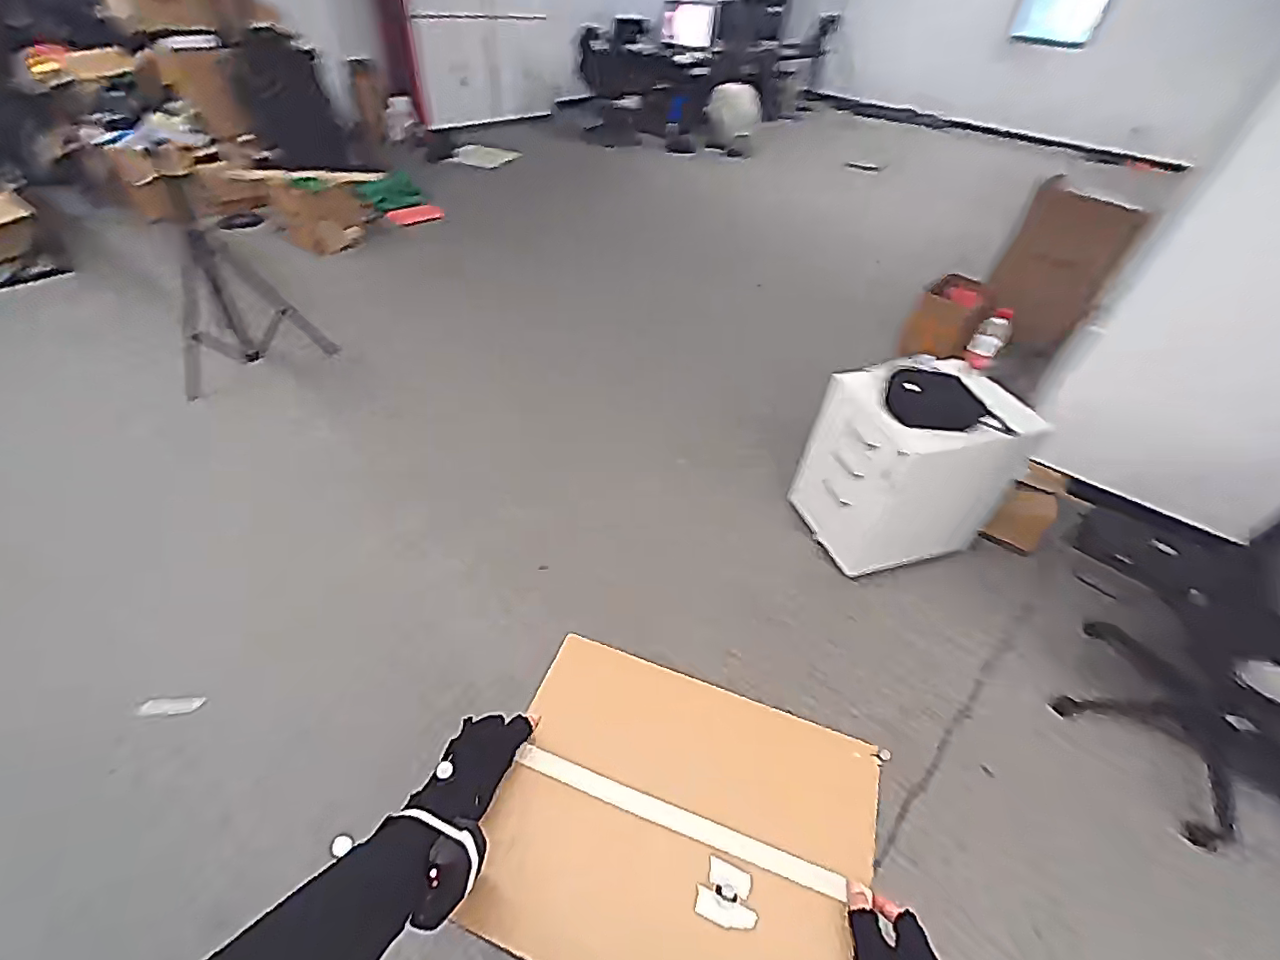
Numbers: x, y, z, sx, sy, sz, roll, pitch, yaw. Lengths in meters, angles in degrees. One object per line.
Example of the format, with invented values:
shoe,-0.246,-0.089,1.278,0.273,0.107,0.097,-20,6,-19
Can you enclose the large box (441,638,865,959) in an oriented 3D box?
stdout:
large box,0.028,0.468,0.697,0.408,0.320,0.320,16,48,12
